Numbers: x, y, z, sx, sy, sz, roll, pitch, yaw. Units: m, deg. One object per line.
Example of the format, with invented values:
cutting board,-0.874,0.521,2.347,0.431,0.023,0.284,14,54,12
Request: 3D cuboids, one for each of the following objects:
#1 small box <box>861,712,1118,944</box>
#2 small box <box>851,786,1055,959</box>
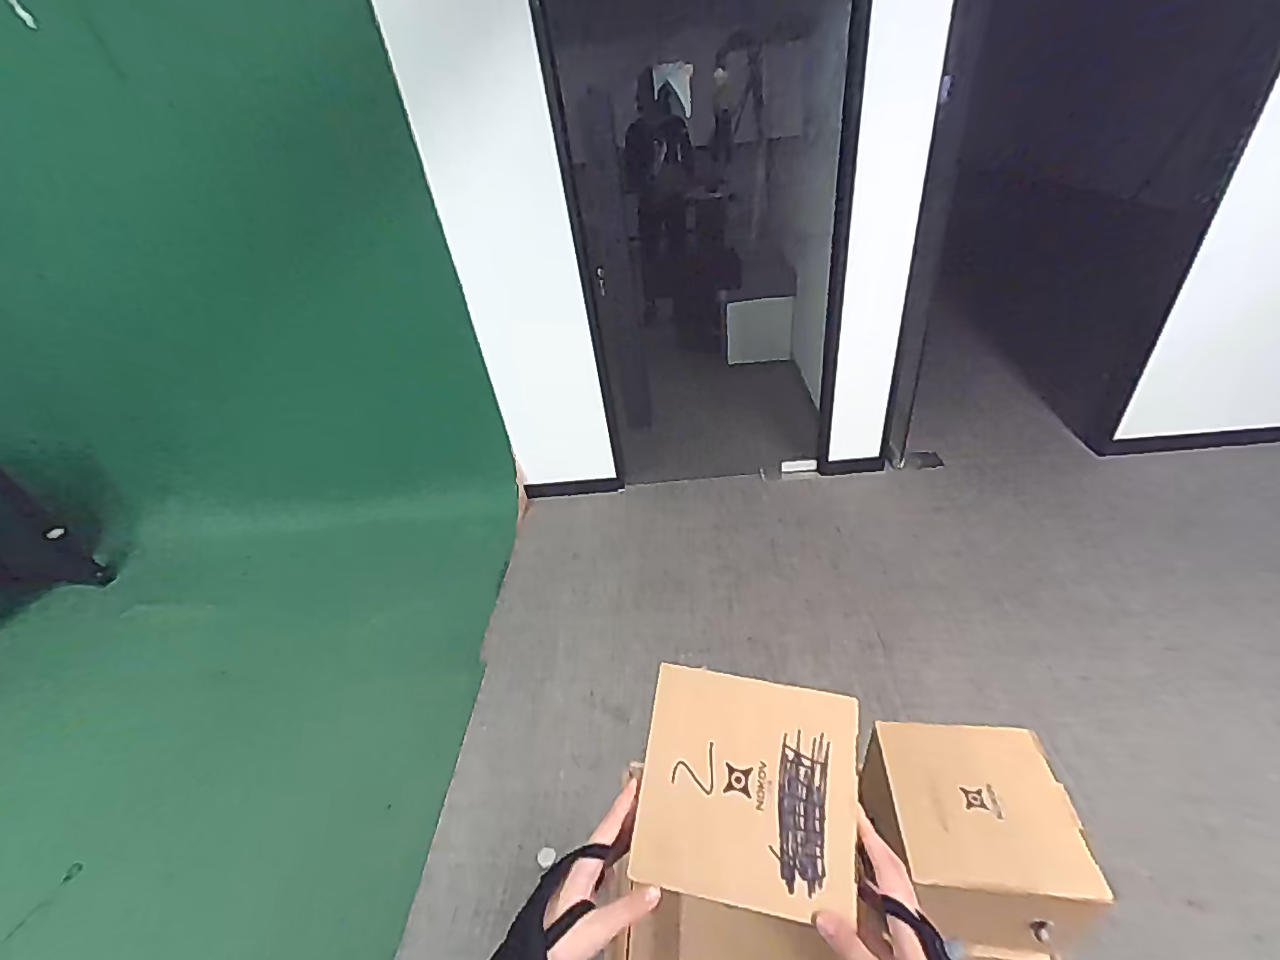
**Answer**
small box,0.362,0.385,0.604,0.179,0.176,0.168,-1,36,10
small box,0.375,0.522,0.693,0.179,0.176,0.168,-1,37,10
